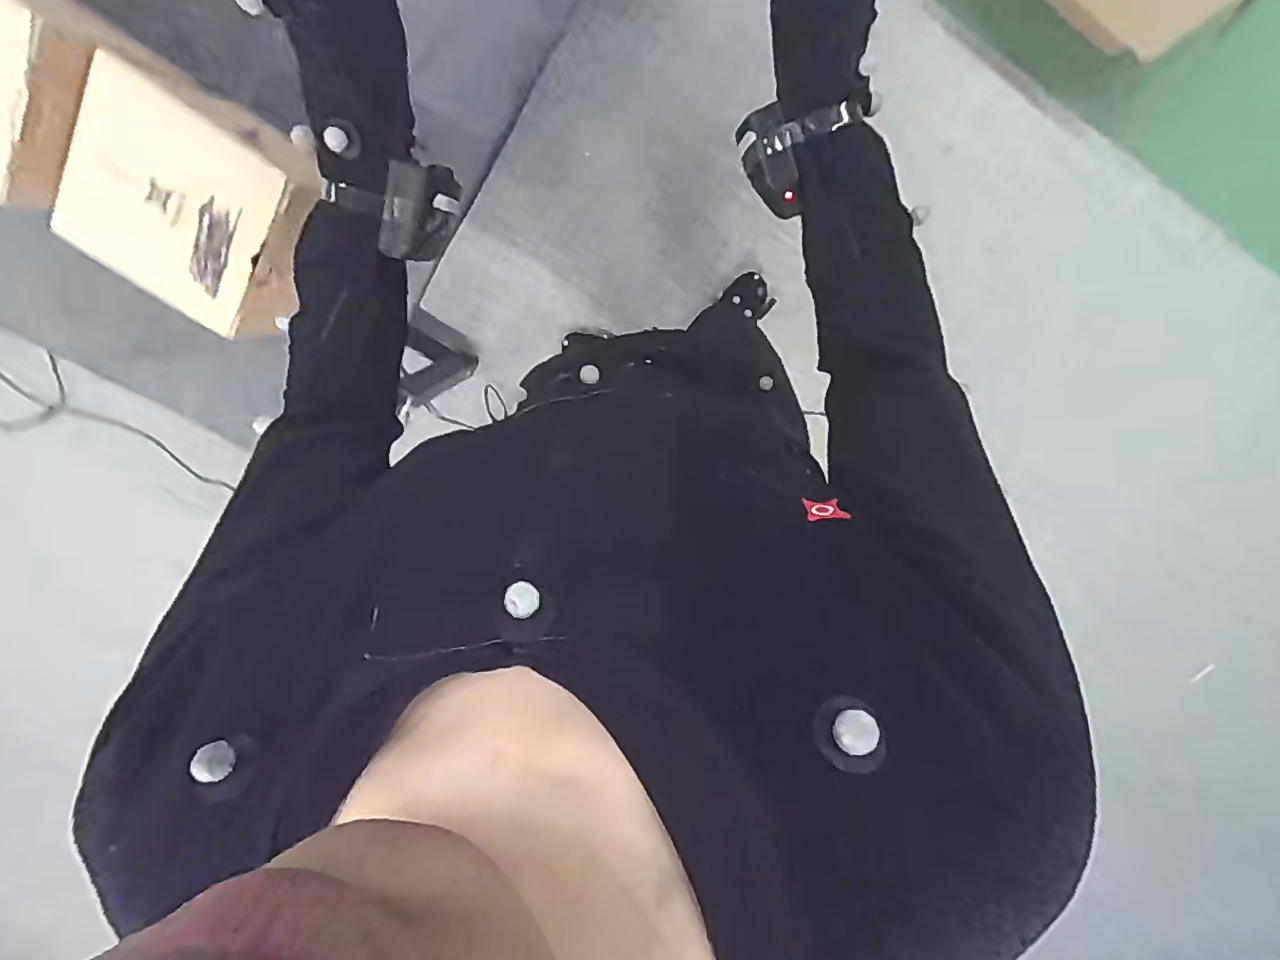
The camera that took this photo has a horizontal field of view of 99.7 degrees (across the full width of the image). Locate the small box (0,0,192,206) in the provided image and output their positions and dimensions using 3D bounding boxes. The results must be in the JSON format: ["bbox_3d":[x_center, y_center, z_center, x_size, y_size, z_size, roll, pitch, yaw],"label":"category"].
[{"bbox_3d":[-0.597,-0.379,0.520,0.179,0.176,0.168,31,108,-10],"label":"small box"}]

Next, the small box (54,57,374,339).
[{"bbox_3d":[-0.414,-0.270,0.556,0.179,0.176,0.168,33,108,-9],"label":"small box"}]
